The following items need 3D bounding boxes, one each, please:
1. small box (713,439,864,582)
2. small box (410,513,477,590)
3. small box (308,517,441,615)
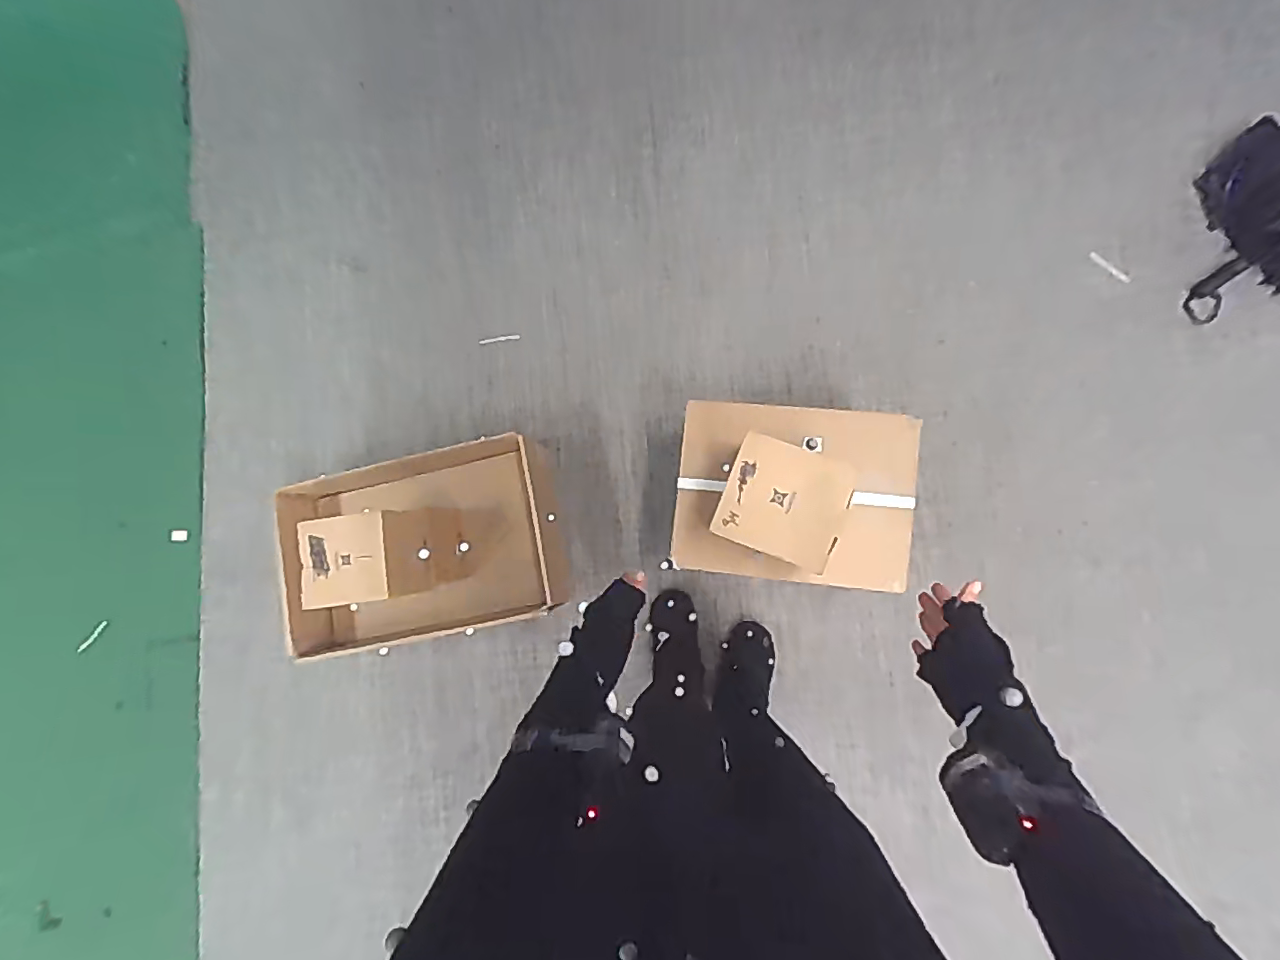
[{"bbox_3d":[0.227,0.048,0.871,0.179,0.176,0.168,21,88,10],"label":"small box"},{"bbox_3d":[-0.502,0.175,1.244,0.179,0.176,0.168,-12,83,6],"label":"small box"},{"bbox_3d":[-0.523,0.169,1.080,0.179,0.176,0.168,-9,83,7],"label":"small box"}]
